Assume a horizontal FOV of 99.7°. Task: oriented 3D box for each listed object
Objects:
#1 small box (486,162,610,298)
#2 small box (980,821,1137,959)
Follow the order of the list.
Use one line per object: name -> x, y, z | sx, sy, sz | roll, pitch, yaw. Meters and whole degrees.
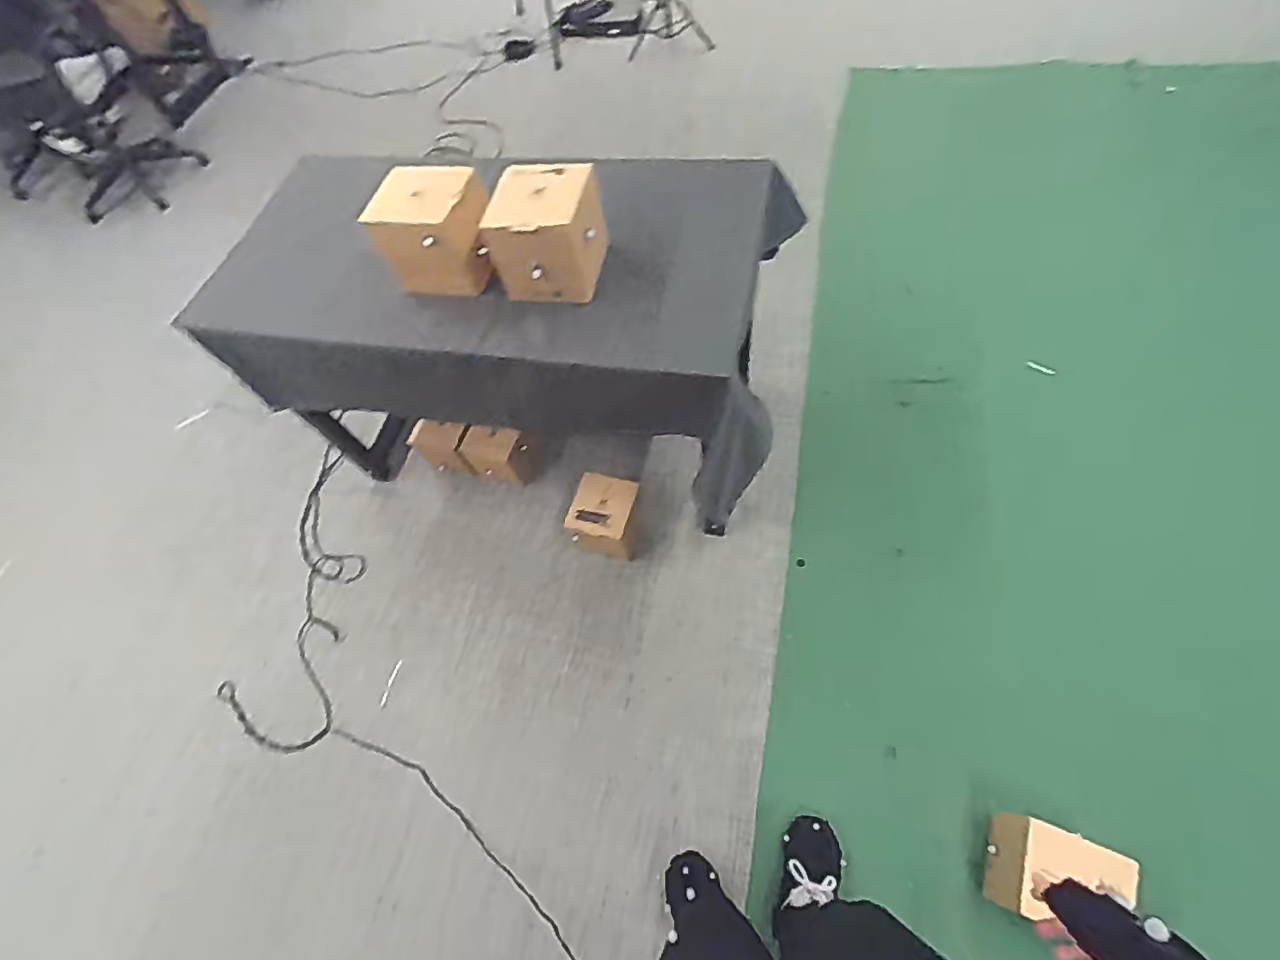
small box -> -0.160, -0.464, 1.016 | 0.168, 0.176, 0.179 | 6, 63, 11
small box -> 0.788, 0.775, 1.029 | 0.179, 0.176, 0.168 | 19, 64, 18
